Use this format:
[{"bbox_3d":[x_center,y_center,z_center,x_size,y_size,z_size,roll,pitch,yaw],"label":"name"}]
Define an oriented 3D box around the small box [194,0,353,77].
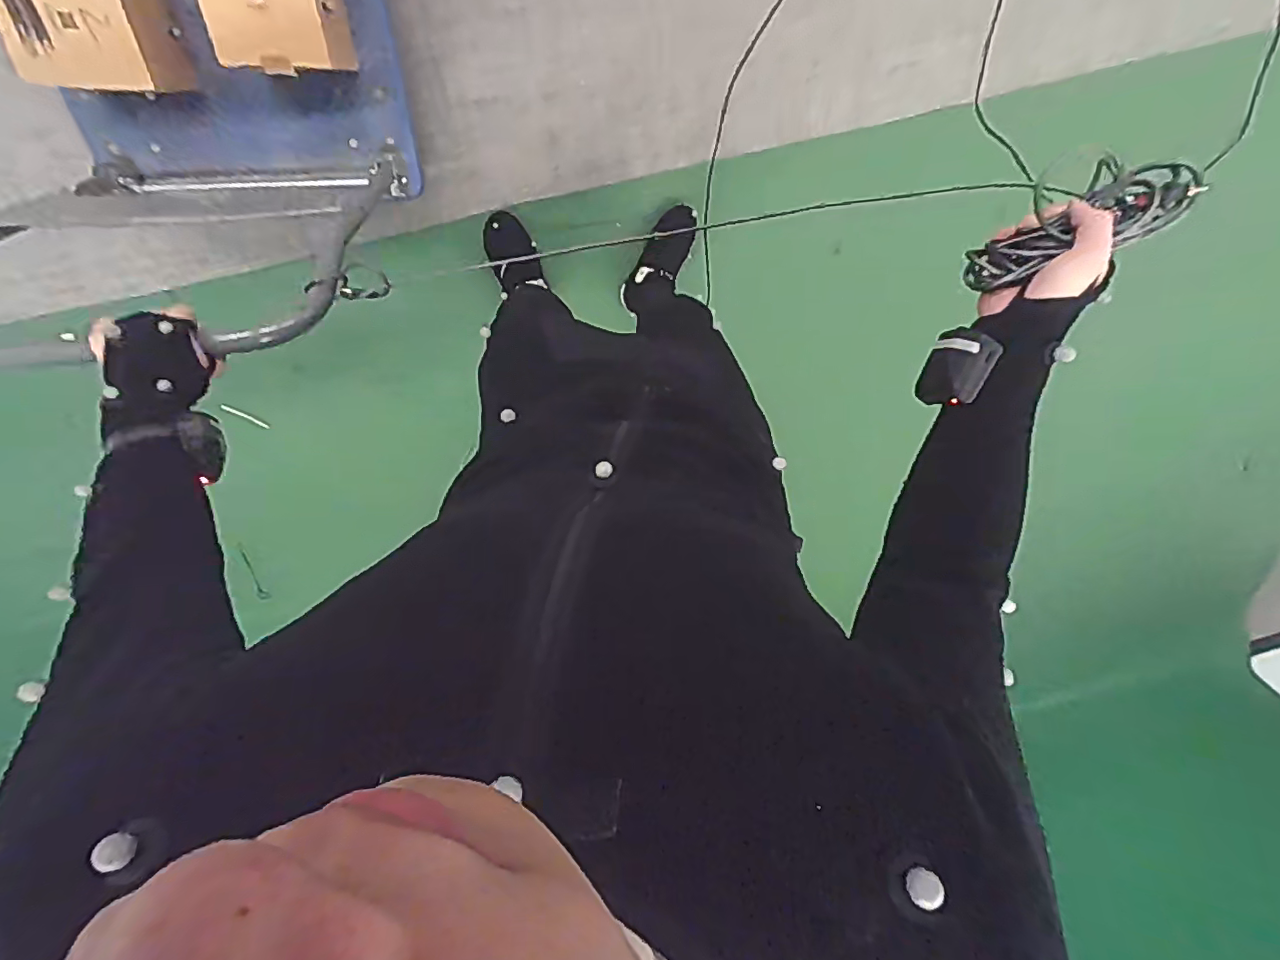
[{"bbox_3d":[-0.584,-0.754,0.861,0.168,0.176,0.179,-6,129,-8],"label":"small box"}]
